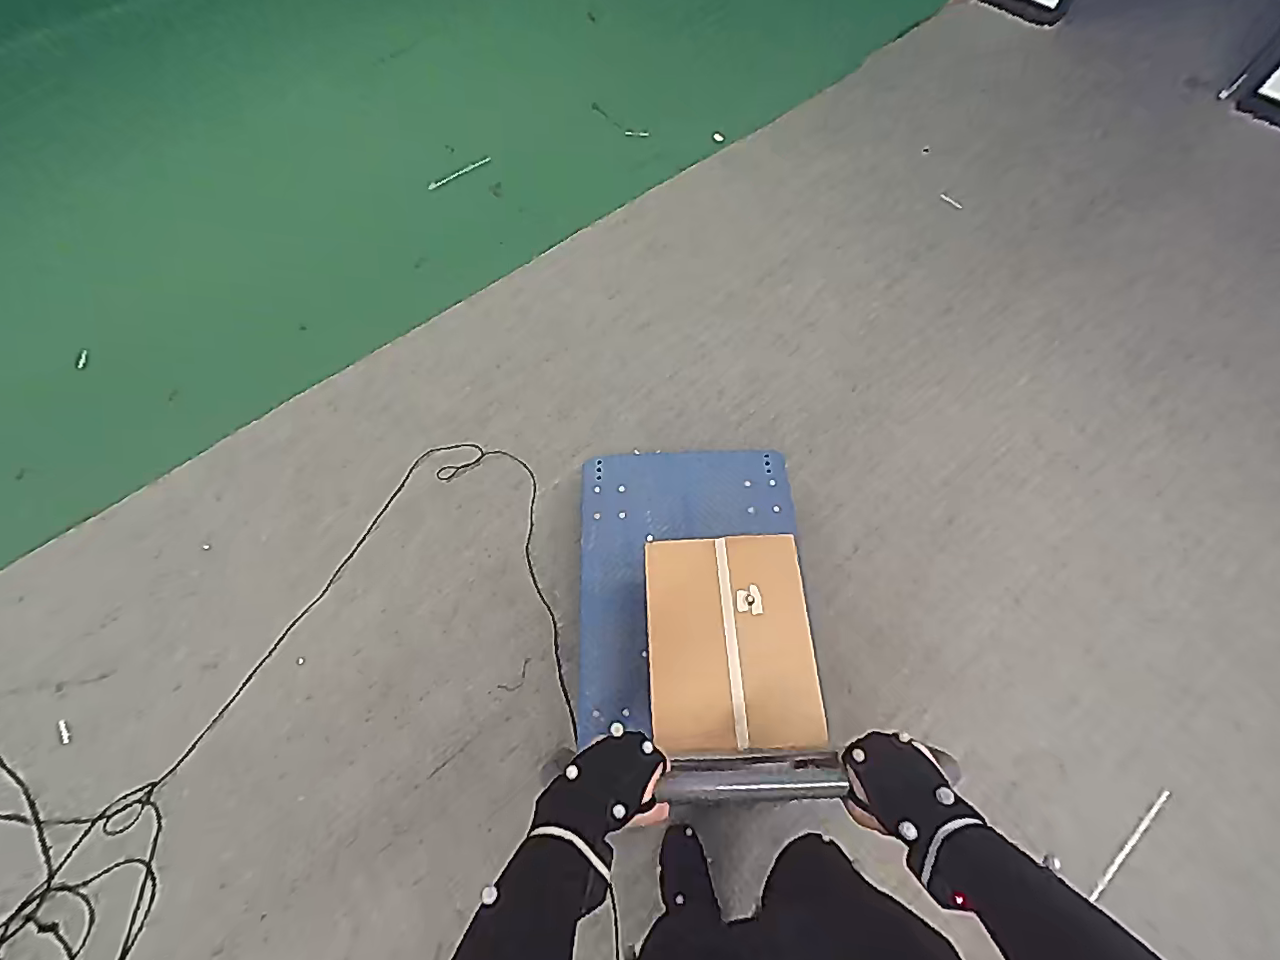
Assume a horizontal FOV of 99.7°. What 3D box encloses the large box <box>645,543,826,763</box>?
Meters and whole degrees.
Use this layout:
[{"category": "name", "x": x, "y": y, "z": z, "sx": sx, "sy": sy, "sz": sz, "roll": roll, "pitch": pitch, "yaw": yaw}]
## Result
[{"category": "large box", "x": 0.181, "y": 0.389, "z": 1.190, "sx": 0.320, "sy": 0.320, "sz": 0.408, "roll": -3, "pitch": 62, "yaw": 0}]
